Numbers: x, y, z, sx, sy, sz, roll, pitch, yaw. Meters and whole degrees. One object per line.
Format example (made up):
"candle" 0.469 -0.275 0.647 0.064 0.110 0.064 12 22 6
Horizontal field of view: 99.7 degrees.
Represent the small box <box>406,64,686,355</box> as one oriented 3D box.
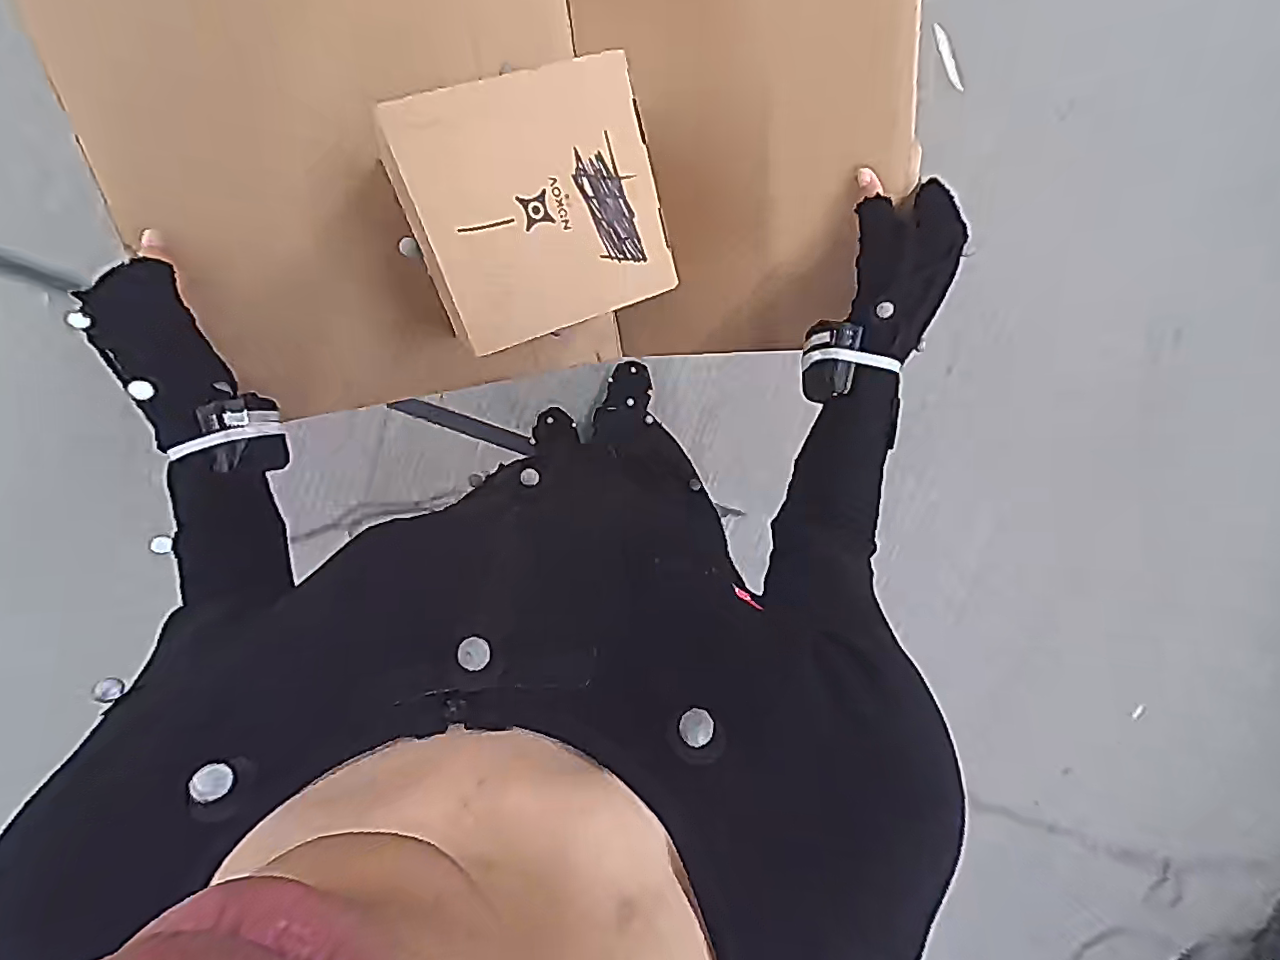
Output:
"small box" -0.086 -0.224 0.469 0.179 0.176 0.168 -23 116 -13
